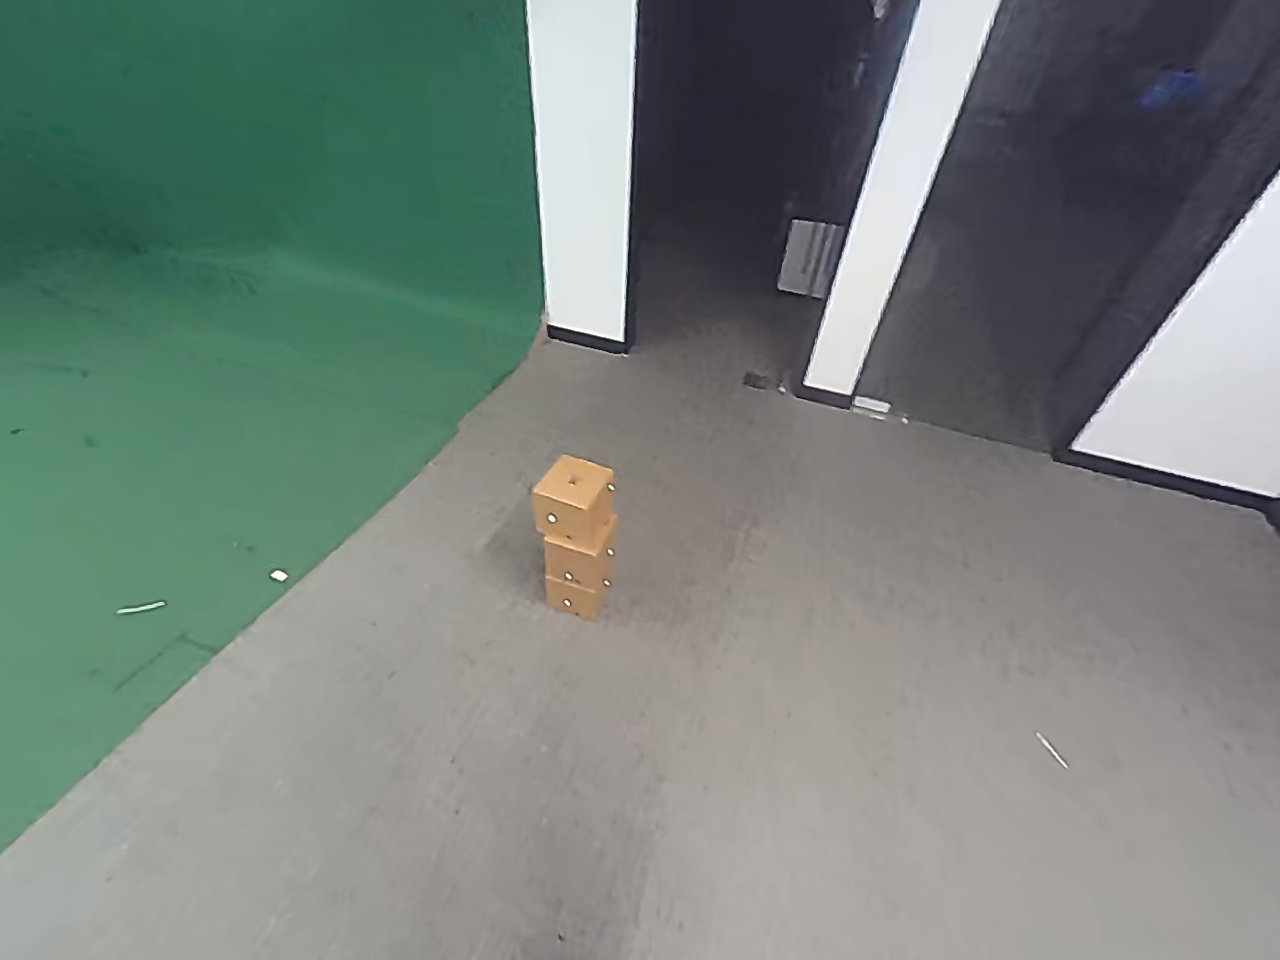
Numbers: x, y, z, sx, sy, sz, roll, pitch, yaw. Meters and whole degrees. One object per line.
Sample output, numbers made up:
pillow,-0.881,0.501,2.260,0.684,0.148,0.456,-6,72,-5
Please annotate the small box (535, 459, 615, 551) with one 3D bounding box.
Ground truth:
small box,-0.177,0.073,1.537,0.168,0.176,0.179,17,44,15
